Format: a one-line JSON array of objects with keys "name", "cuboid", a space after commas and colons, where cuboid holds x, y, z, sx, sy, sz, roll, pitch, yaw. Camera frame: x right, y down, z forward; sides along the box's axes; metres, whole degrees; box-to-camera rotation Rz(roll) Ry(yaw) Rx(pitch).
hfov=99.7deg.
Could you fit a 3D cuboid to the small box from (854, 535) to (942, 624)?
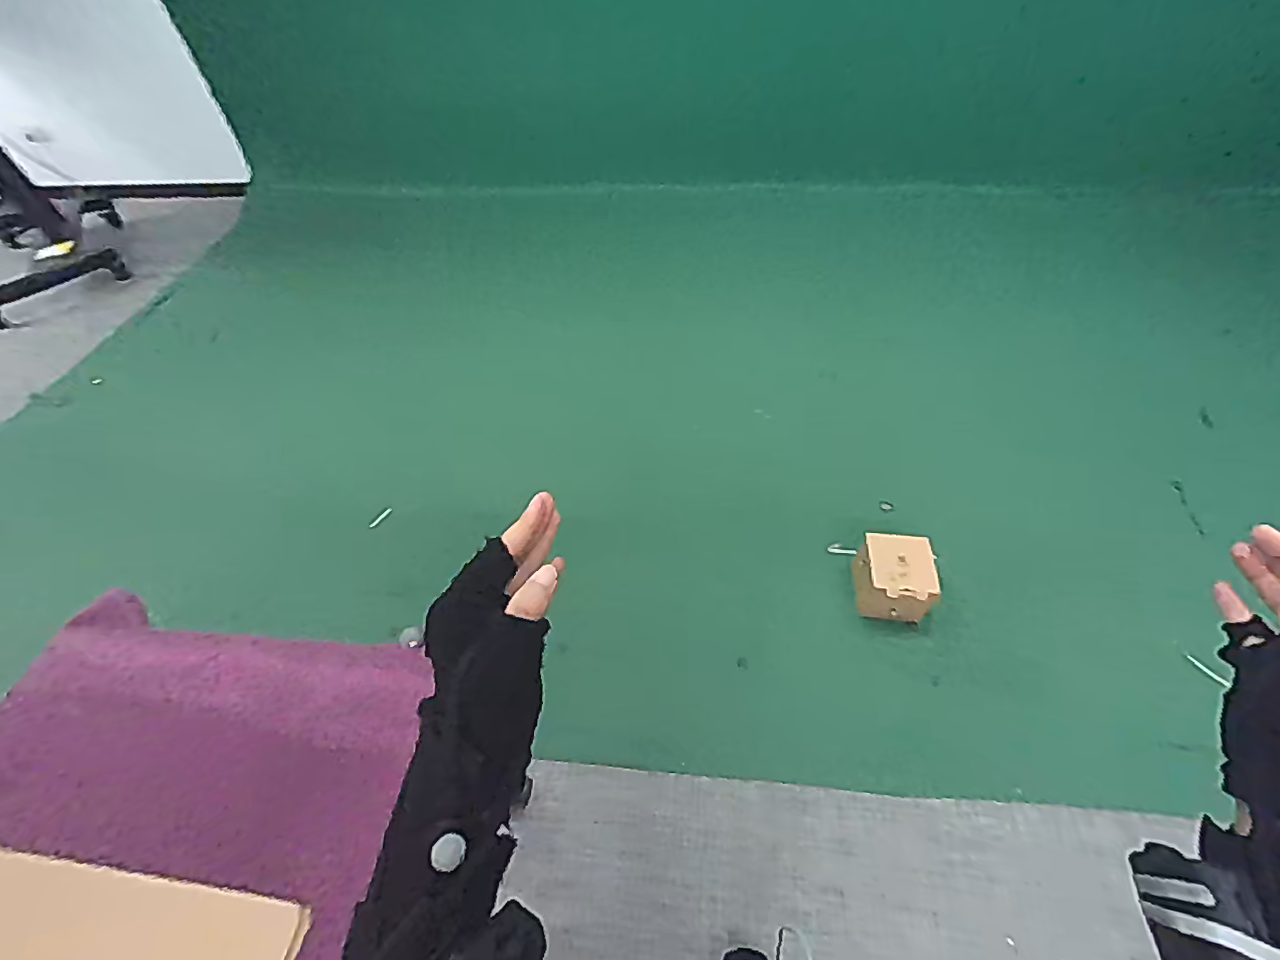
[{"name": "small box", "cuboid": [0.704, 0.276, 1.498, 0.168, 0.176, 0.179, 5, 52, 7]}]
